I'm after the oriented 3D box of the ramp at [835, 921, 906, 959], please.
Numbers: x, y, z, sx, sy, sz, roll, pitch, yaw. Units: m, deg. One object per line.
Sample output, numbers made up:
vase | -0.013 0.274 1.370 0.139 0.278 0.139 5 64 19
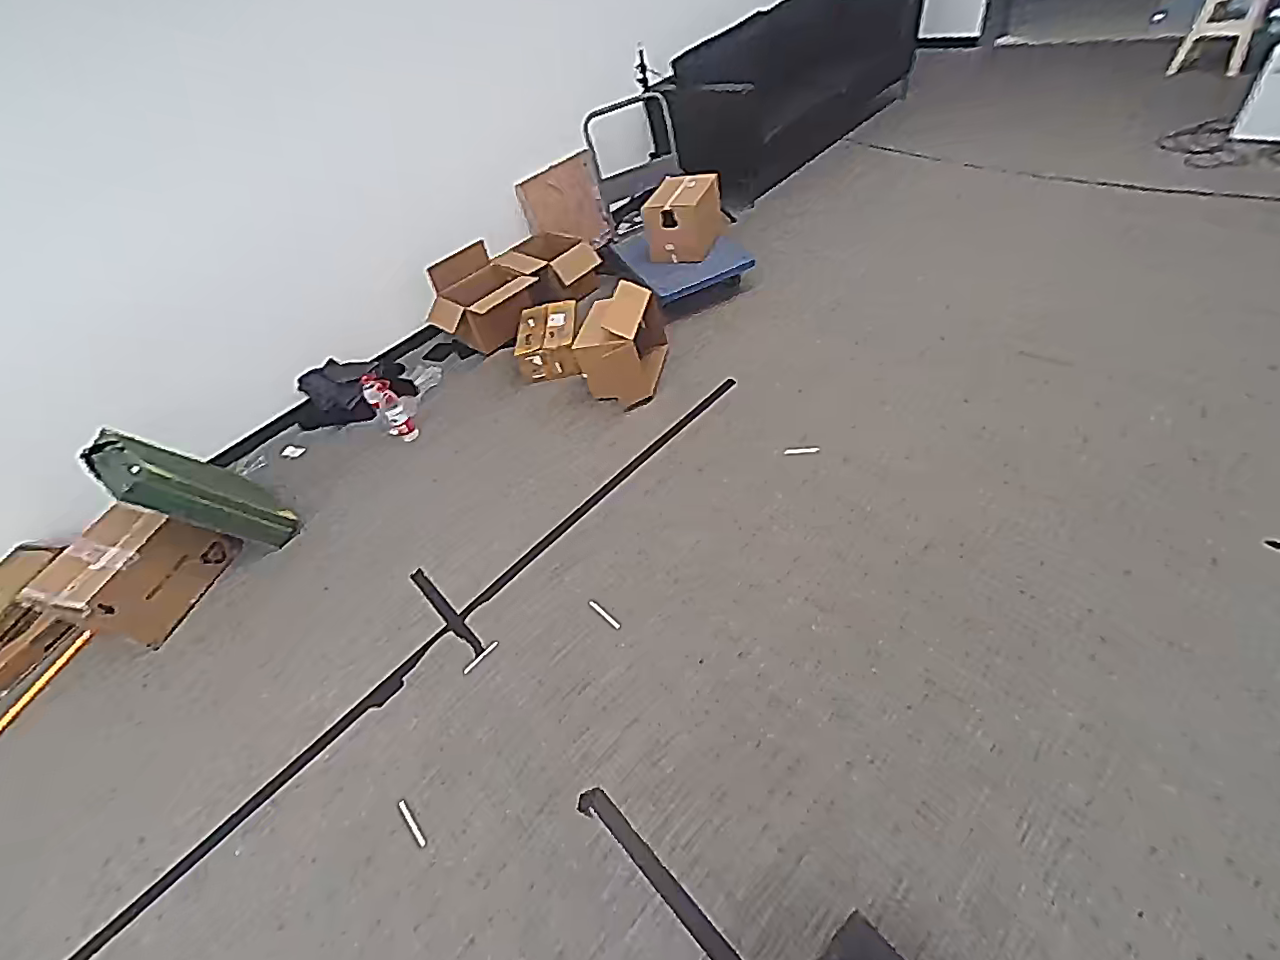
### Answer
ramp | 0.625 1.288 0.765 0.991 0.206 0.509 31 61 36
